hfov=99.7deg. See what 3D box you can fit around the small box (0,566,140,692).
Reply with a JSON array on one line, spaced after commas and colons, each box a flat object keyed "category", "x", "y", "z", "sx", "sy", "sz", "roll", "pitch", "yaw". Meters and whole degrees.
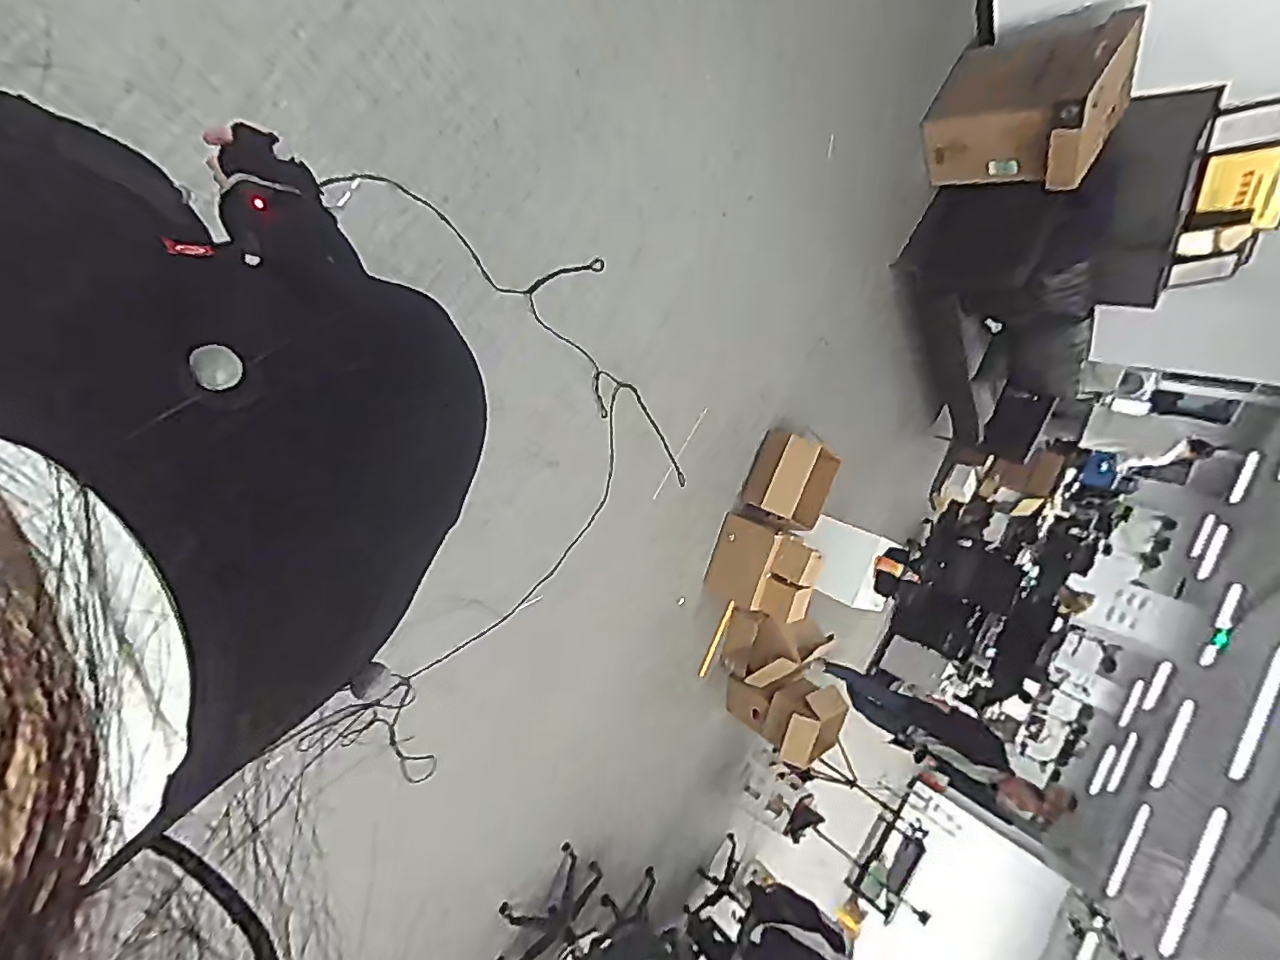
[{"category": "small box", "x": -1.151, "y": 0.294, "z": 1.075, "sx": 0.168, "sy": 0.176, "sz": 0.179, "roll": 34, "pitch": 84, "yaw": -49}]
